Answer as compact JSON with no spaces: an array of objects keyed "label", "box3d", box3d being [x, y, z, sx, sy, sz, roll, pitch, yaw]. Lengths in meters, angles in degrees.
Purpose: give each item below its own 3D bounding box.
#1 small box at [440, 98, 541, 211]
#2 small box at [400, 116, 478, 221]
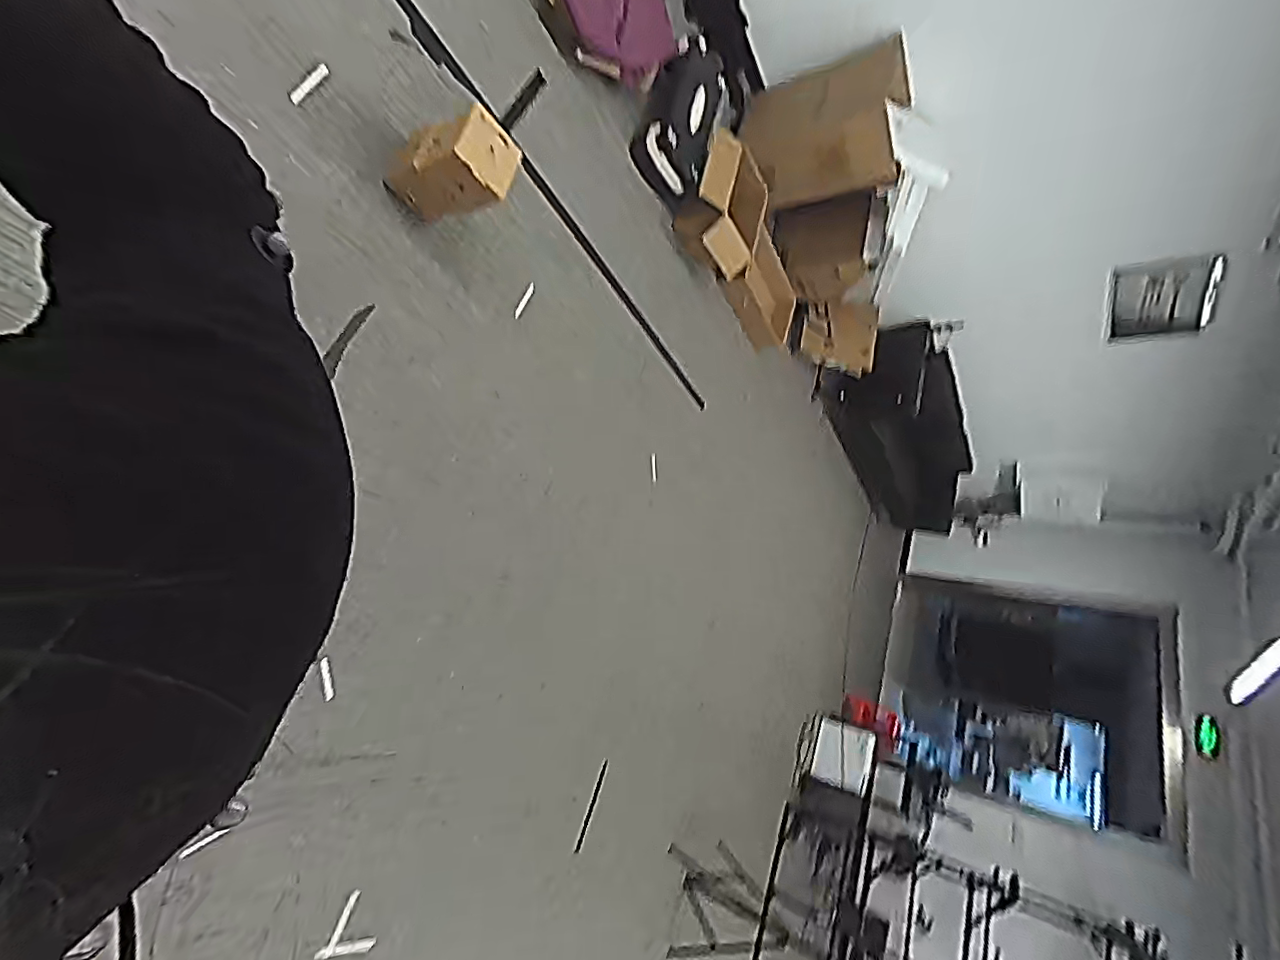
[{"label":"small box","box3d":[-0.400,-0.852,1.435,0.168,0.176,0.179,34,66,-48]},{"label":"small box","box3d":[-0.540,-0.869,1.522,0.168,0.176,0.179,36,66,-47]}]
